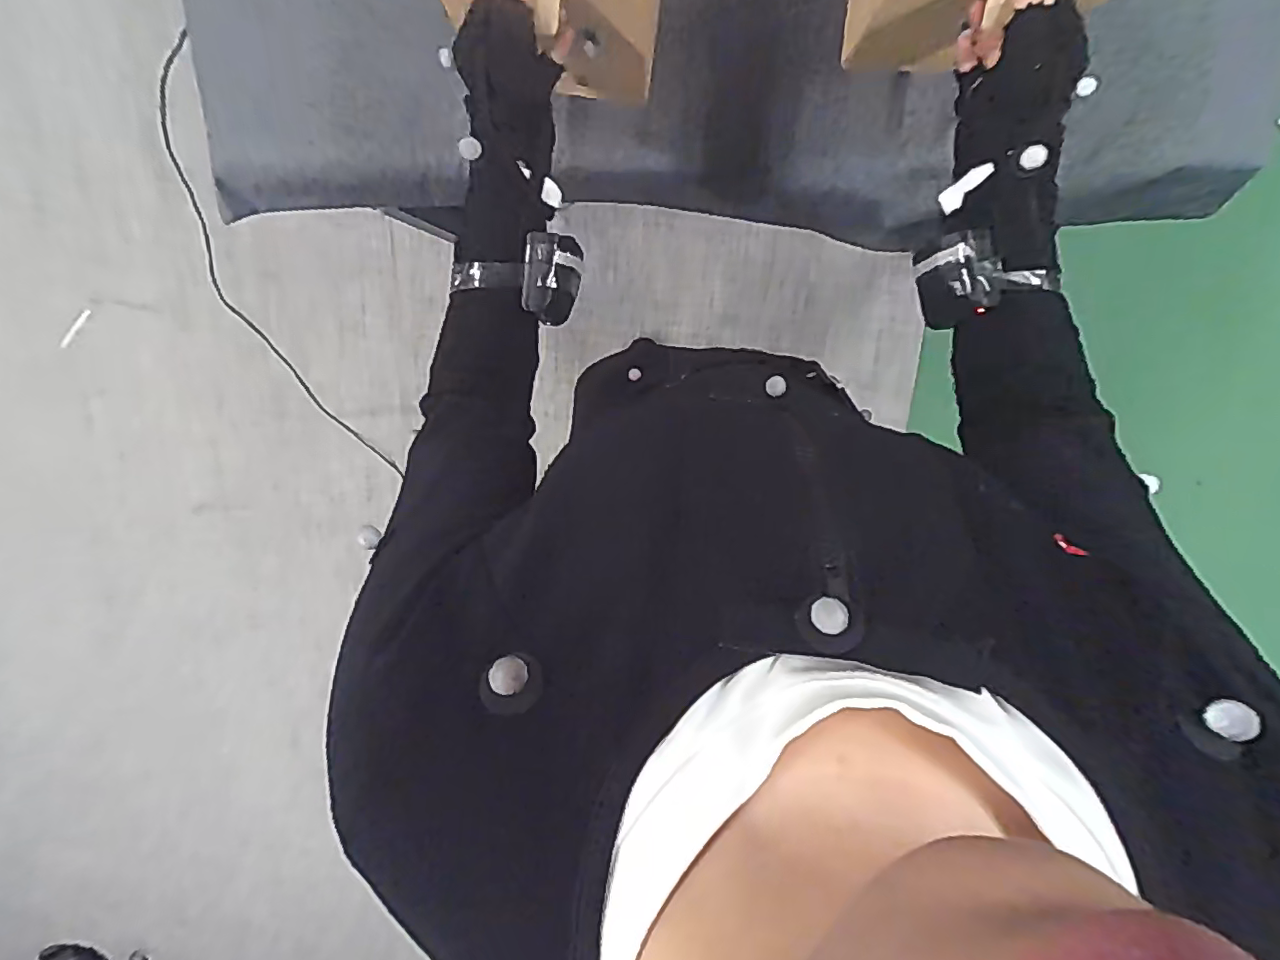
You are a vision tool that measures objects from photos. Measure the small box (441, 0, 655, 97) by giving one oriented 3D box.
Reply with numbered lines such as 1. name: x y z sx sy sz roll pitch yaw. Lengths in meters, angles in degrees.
1. small box: -0.066 -0.446 0.427 0.168 0.176 0.179 8 97 -2
